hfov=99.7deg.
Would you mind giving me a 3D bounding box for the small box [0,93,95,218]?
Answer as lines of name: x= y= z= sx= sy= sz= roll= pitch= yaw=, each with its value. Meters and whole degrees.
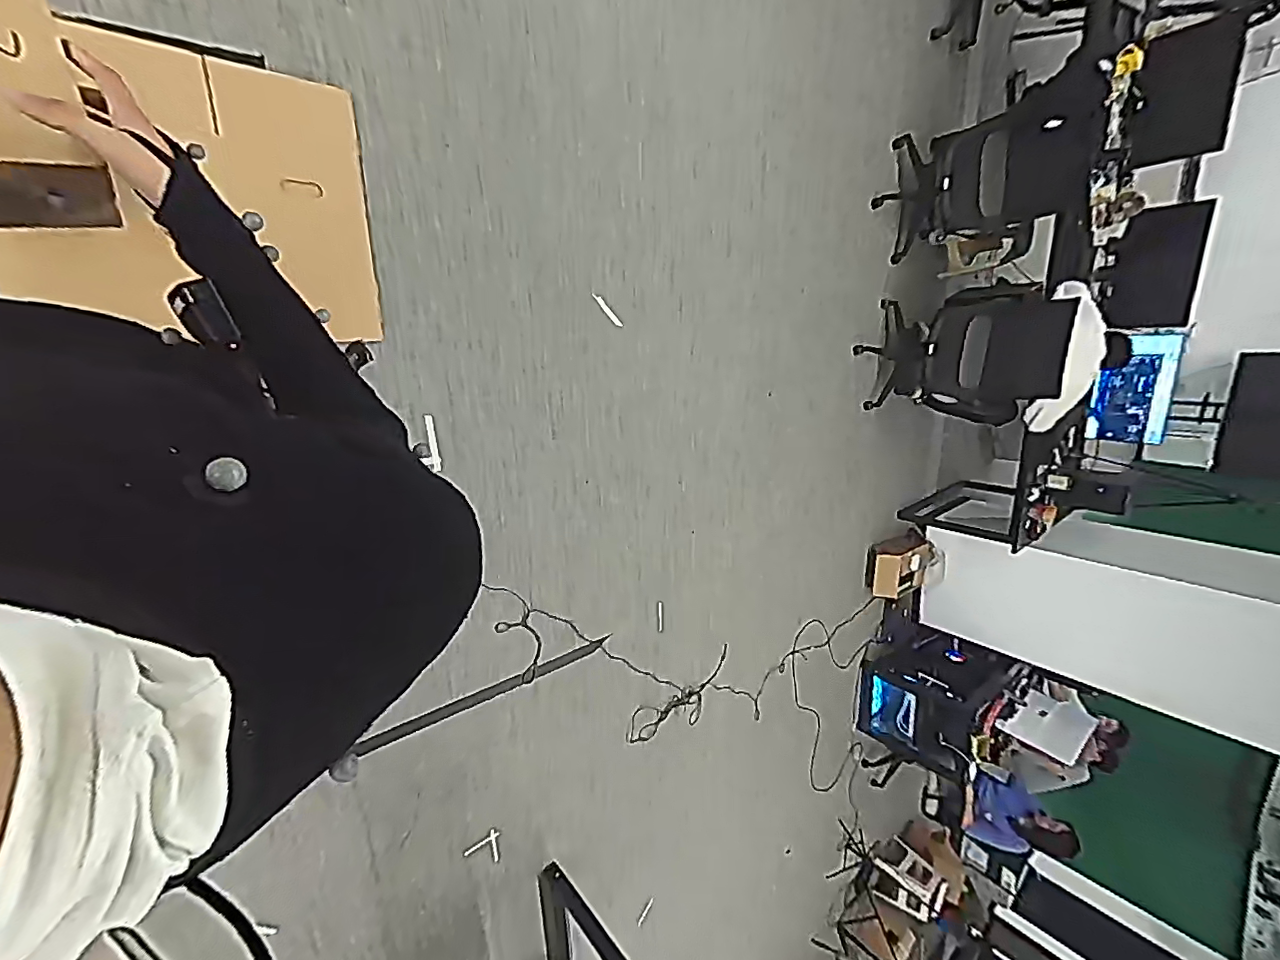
small box: x=-1.134 y=-0.586 z=0.985 sx=0.179 sy=0.176 sz=0.168 roll=-12 pitch=108 yaw=-37
